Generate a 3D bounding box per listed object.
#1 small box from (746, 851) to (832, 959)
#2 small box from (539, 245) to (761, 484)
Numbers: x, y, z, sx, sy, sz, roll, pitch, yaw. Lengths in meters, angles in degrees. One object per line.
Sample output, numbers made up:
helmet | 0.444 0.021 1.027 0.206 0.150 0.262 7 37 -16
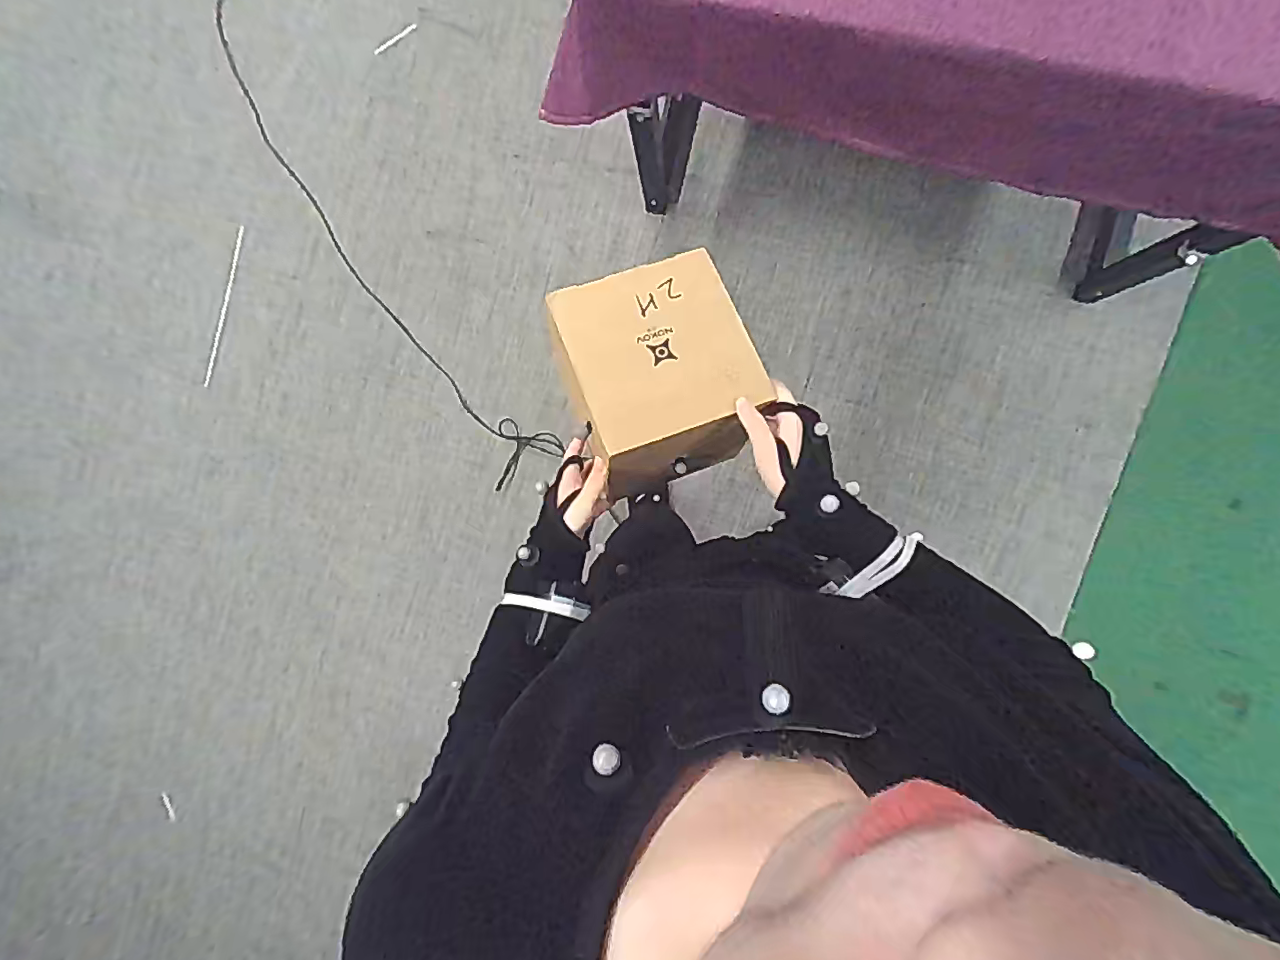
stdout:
small box | 0.383 1.134 1.425 0.168 0.176 0.179 16 94 6
small box | 0.005 -0.107 0.578 0.168 0.176 0.179 -19 76 -9
